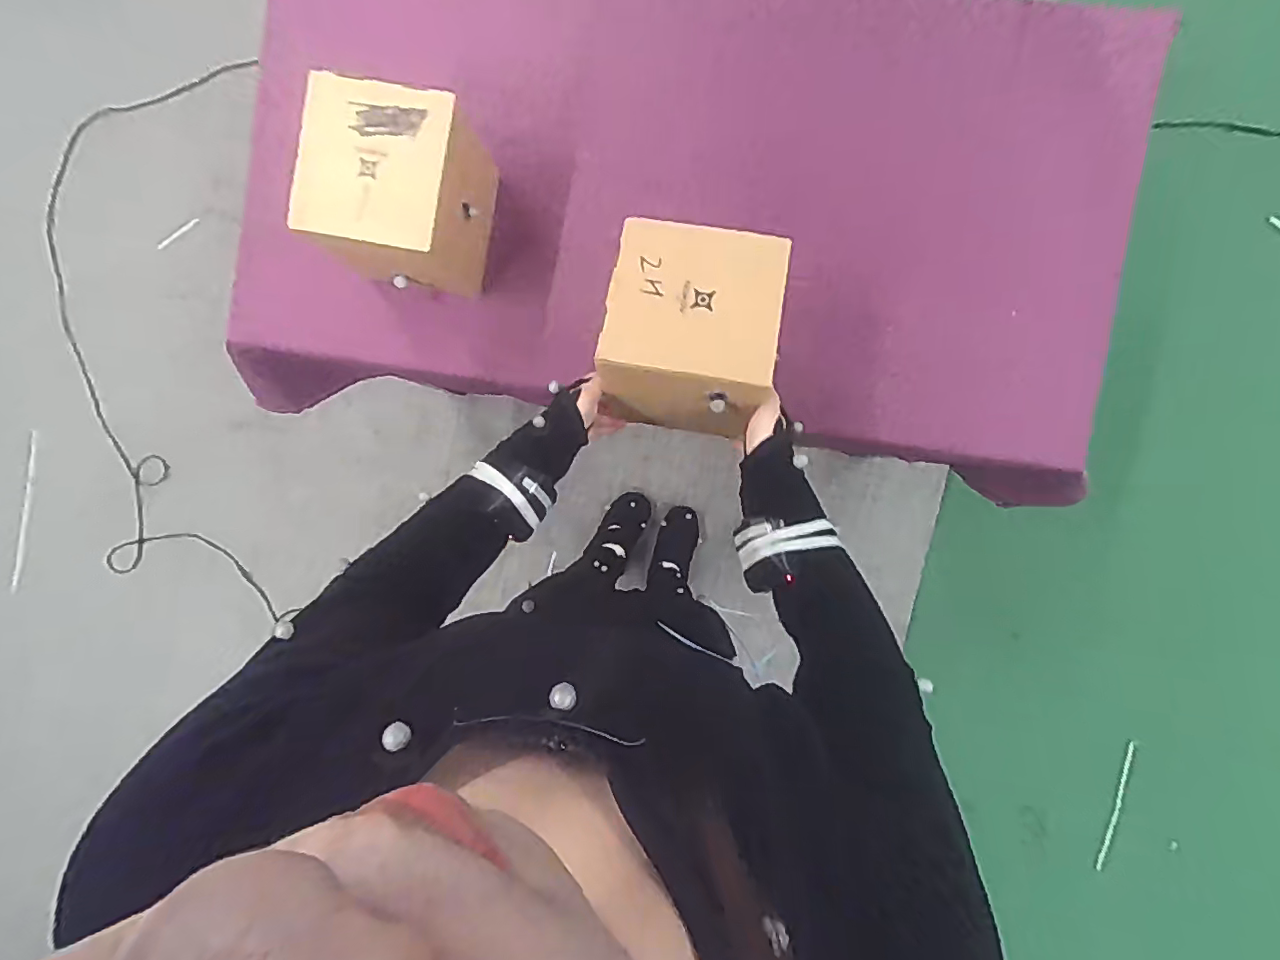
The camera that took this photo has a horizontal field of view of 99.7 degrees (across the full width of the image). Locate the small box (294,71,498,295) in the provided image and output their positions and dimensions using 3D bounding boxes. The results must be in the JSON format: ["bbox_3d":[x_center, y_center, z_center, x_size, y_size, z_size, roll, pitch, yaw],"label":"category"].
[{"bbox_3d":[-0.288,-0.354,0.677,0.168,0.176,0.179,11,94,2],"label":"small box"}]

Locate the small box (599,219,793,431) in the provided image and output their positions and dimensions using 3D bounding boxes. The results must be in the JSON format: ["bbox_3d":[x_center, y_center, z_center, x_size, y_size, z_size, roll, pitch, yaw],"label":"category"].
[{"bbox_3d":[0.062,-0.165,0.624,0.179,0.176,0.168,9,77,5],"label":"small box"}]
